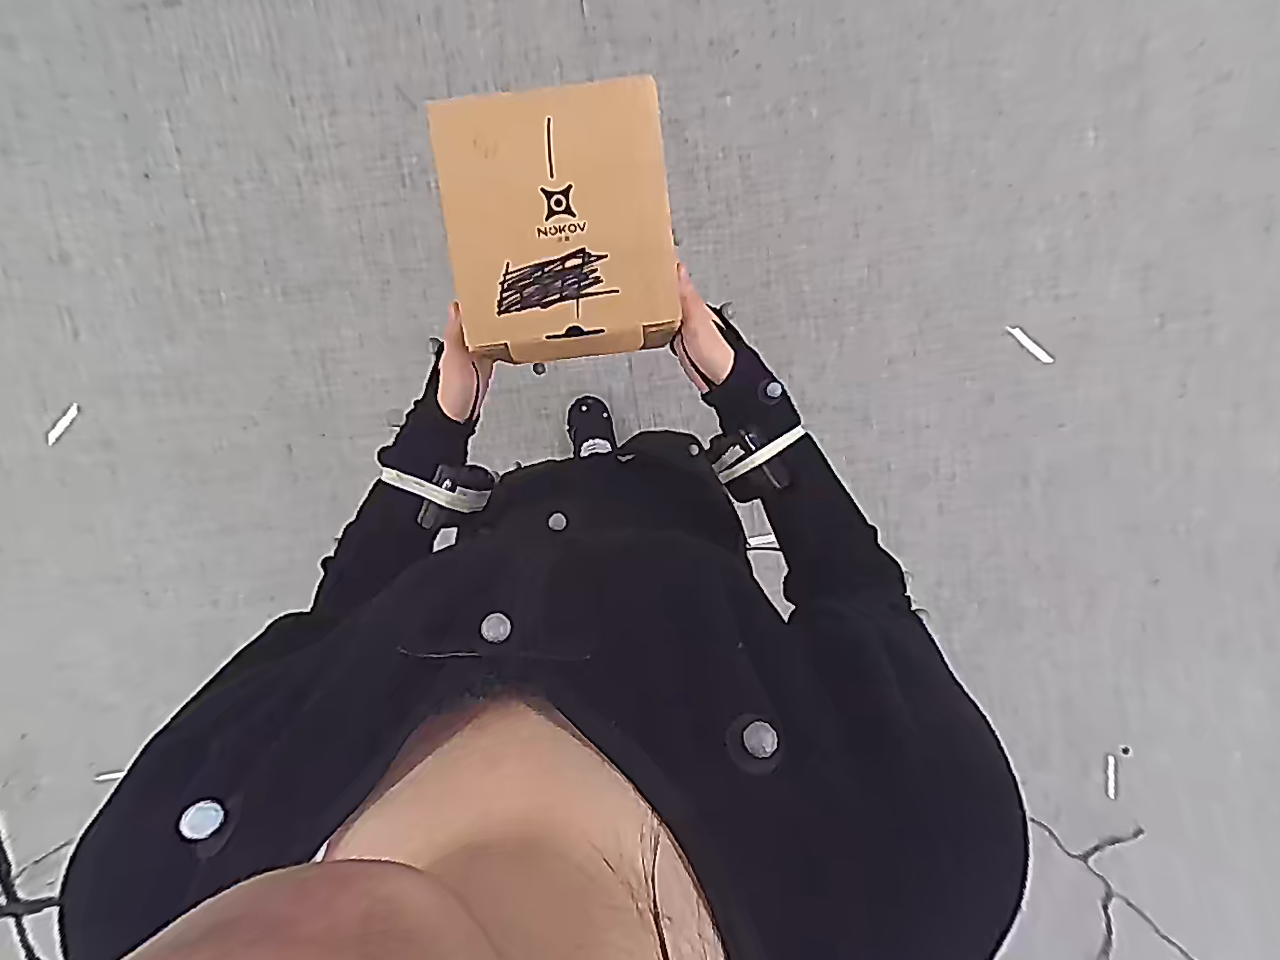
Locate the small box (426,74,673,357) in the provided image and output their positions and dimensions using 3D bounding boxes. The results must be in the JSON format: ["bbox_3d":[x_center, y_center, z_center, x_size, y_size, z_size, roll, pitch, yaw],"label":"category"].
[{"bbox_3d":[-0.064,-0.205,0.473,0.168,0.176,0.179,-7,97,0],"label":"small box"}]
